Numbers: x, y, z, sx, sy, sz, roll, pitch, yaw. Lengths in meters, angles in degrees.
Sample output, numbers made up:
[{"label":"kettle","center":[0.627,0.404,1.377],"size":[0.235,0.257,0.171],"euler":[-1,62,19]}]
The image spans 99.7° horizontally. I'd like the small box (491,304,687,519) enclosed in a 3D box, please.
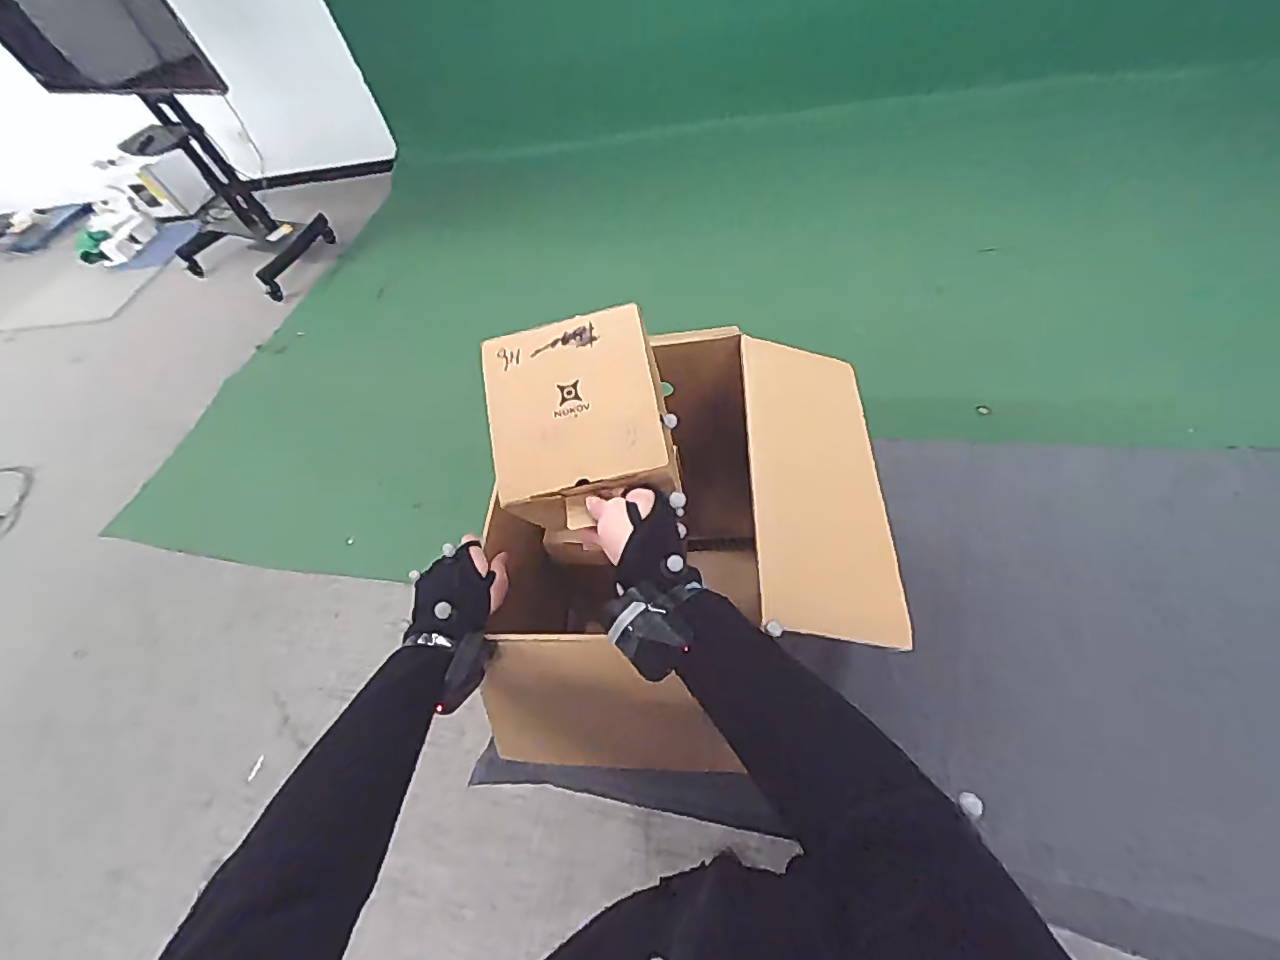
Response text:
[{"label":"small box","center":[-0.046,-0.059,0.599],"size":[0.168,0.176,0.179],"euler":[-12,75,7]}]
